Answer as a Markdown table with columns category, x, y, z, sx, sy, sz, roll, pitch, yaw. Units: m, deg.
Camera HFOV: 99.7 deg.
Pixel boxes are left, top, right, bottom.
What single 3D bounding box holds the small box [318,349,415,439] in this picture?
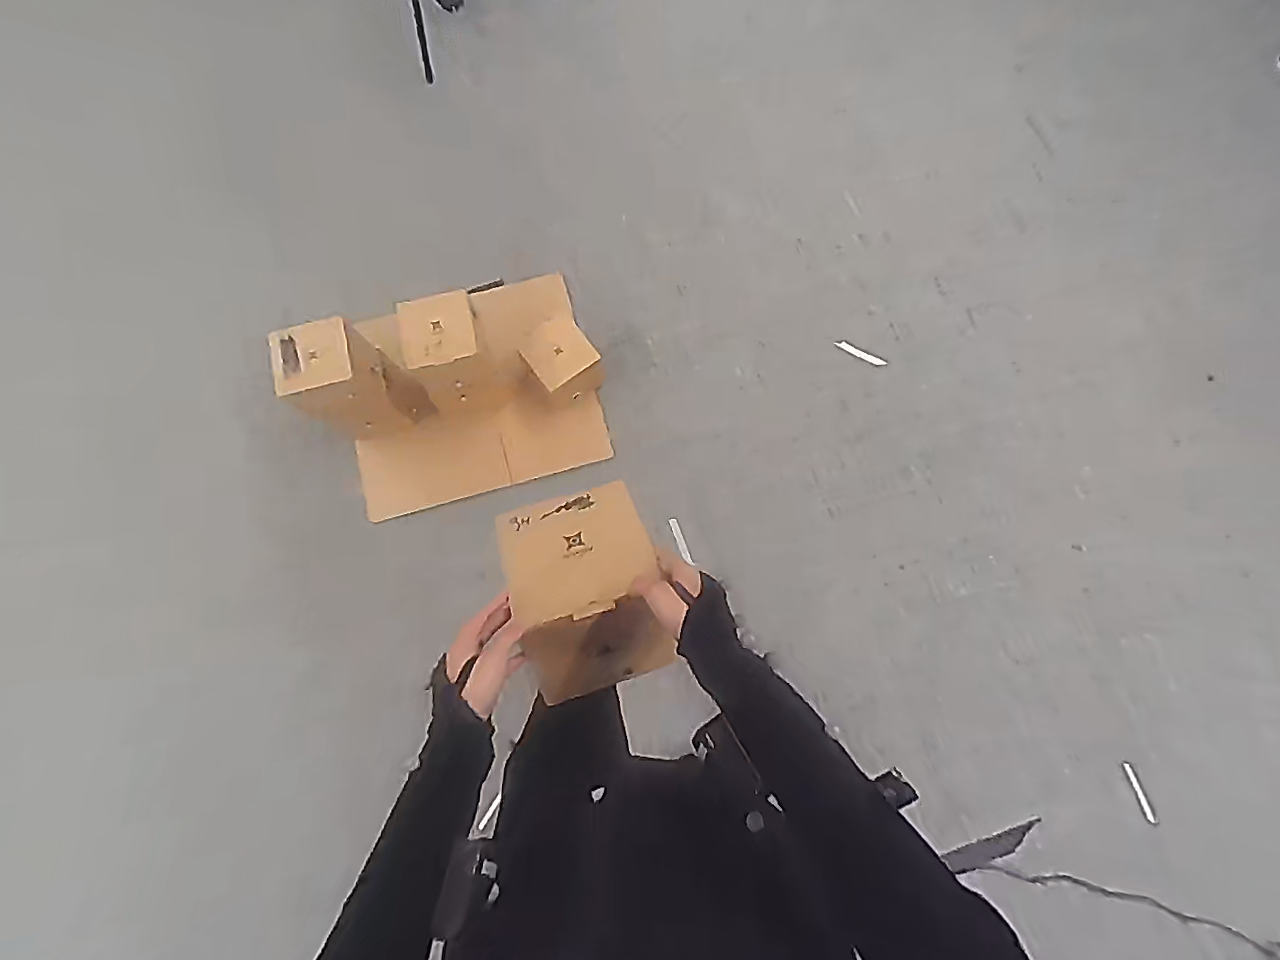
| category | x | y | z | sx | sy | sz | roll | pitch | yaw |
| --- | --- | --- | --- | --- | --- | --- | --- | --- | --- |
| small box | -0.732 | -0.228 | 1.470 | 0.179 | 0.176 | 0.168 | -16 | 78 | -3 |

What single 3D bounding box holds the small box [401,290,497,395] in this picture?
| category | x | y | z | sx | sy | sz | roll | pitch | yaw |
| --- | --- | --- | --- | --- | --- | --- | --- | --- | --- |
| small box | -0.464 | -0.331 | 1.328 | 0.168 | 0.176 | 0.179 | -14 | 78 | -4 |

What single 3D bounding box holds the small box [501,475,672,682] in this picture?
| category | x | y | z | sx | sy | sz | roll | pitch | yaw |
| --- | --- | --- | --- | --- | --- | --- | --- | --- | --- |
| small box | -0.063 | 0.128 | 0.674 | 0.168 | 0.176 | 0.179 | -15 | 44 | -9 |

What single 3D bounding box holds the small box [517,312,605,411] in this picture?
| category | x | y | z | sx | sy | sz | roll | pitch | yaw |
| --- | --- | --- | --- | --- | --- | --- | --- | --- | --- |
| small box | -0.212 | -0.321 | 1.496 | 0.168 | 0.176 | 0.179 | -36 | 79 | -7 |
